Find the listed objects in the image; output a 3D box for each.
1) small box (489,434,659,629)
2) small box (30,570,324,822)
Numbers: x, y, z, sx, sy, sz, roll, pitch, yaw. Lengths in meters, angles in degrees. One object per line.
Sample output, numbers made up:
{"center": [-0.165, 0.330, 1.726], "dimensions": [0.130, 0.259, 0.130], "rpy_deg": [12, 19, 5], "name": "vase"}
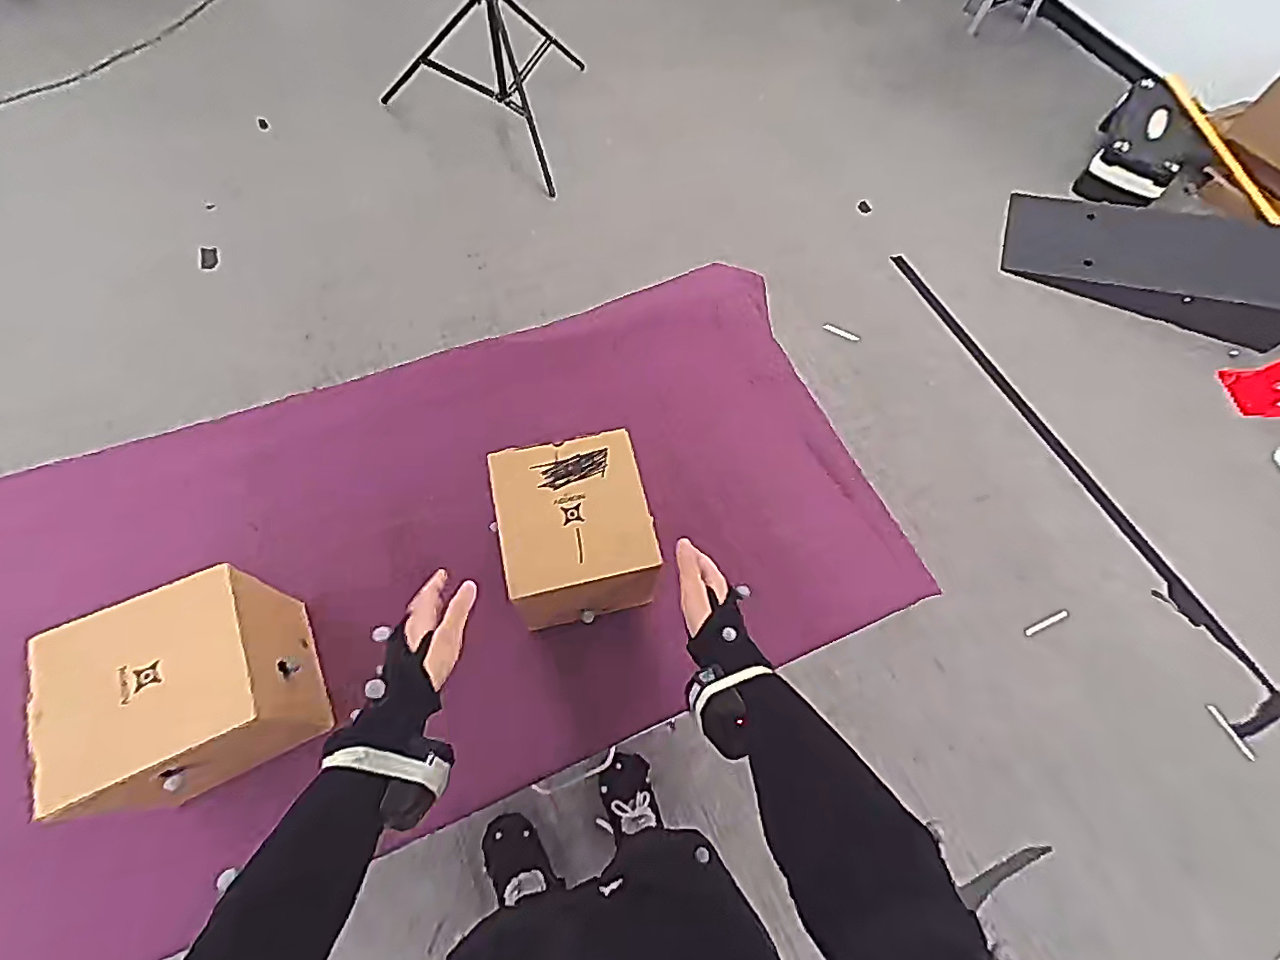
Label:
{"center": [-0.083, 0.069, 0.672], "dimensions": [0.168, 0.176, 0.179], "rpy_deg": [-12, 66, -9], "name": "small box"}
{"center": [-0.465, 0.222, 0.572], "dimensions": [0.179, 0.176, 0.168], "rpy_deg": [-24, 68, -14], "name": "small box"}
